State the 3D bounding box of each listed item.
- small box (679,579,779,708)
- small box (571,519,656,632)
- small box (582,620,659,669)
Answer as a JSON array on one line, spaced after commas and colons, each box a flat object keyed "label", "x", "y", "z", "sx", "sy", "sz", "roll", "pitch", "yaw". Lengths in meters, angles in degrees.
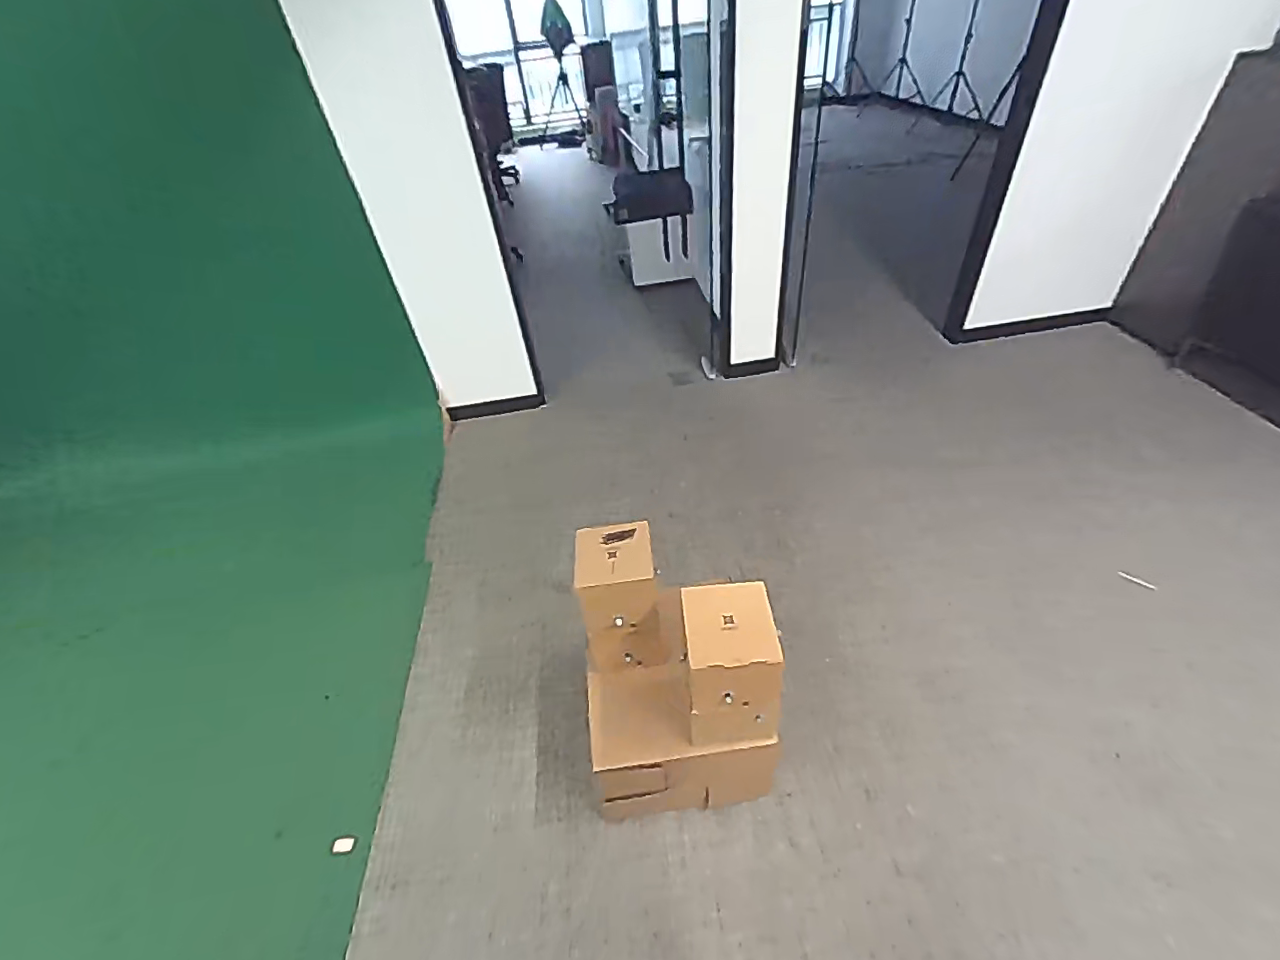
[{"label": "small box", "x": 0.164, "y": 0.319, "z": 1.056, "sx": 0.168, "sy": 0.176, "sz": 0.179, "roll": -5, "pitch": 41, "yaw": 1}, {"label": "small box", "x": -0.057, "y": 0.214, "z": 1.210, "sx": 0.168, "sy": 0.176, "sz": 0.179, "roll": -7, "pitch": 39, "yaw": 1}, {"label": "small box", "x": -0.048, "y": 0.333, "z": 1.325, "sx": 0.168, "sy": 0.176, "sz": 0.179, "roll": -9, "pitch": 38, "yaw": -1}]
